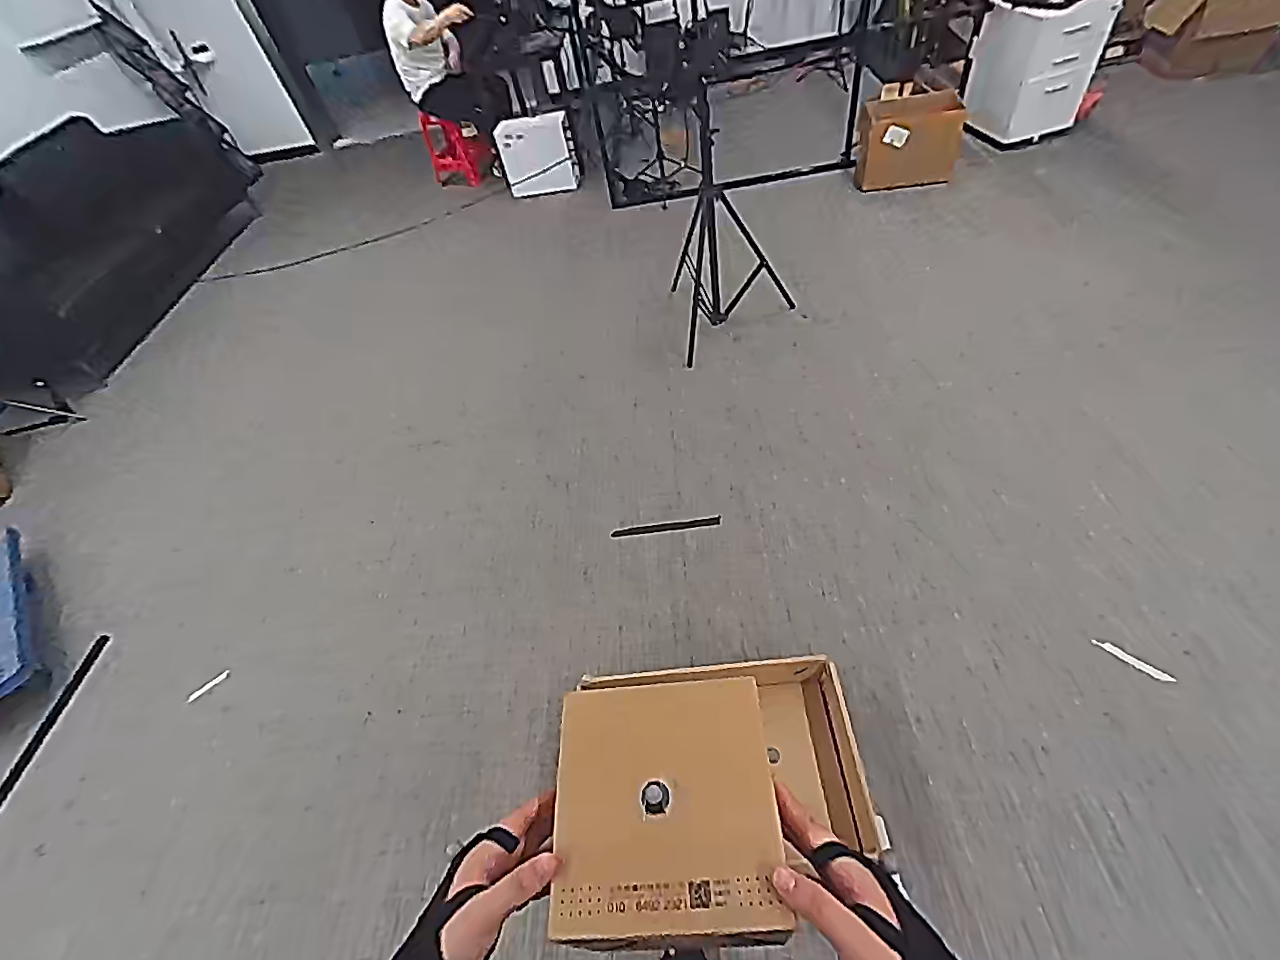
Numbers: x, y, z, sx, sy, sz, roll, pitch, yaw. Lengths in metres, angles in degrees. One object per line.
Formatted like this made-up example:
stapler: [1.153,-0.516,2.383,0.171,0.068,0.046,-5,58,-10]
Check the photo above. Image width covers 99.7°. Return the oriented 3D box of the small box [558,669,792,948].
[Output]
small box: [0.030,0.285,0.466,0.168,0.179,0.176,-7,47,6]
